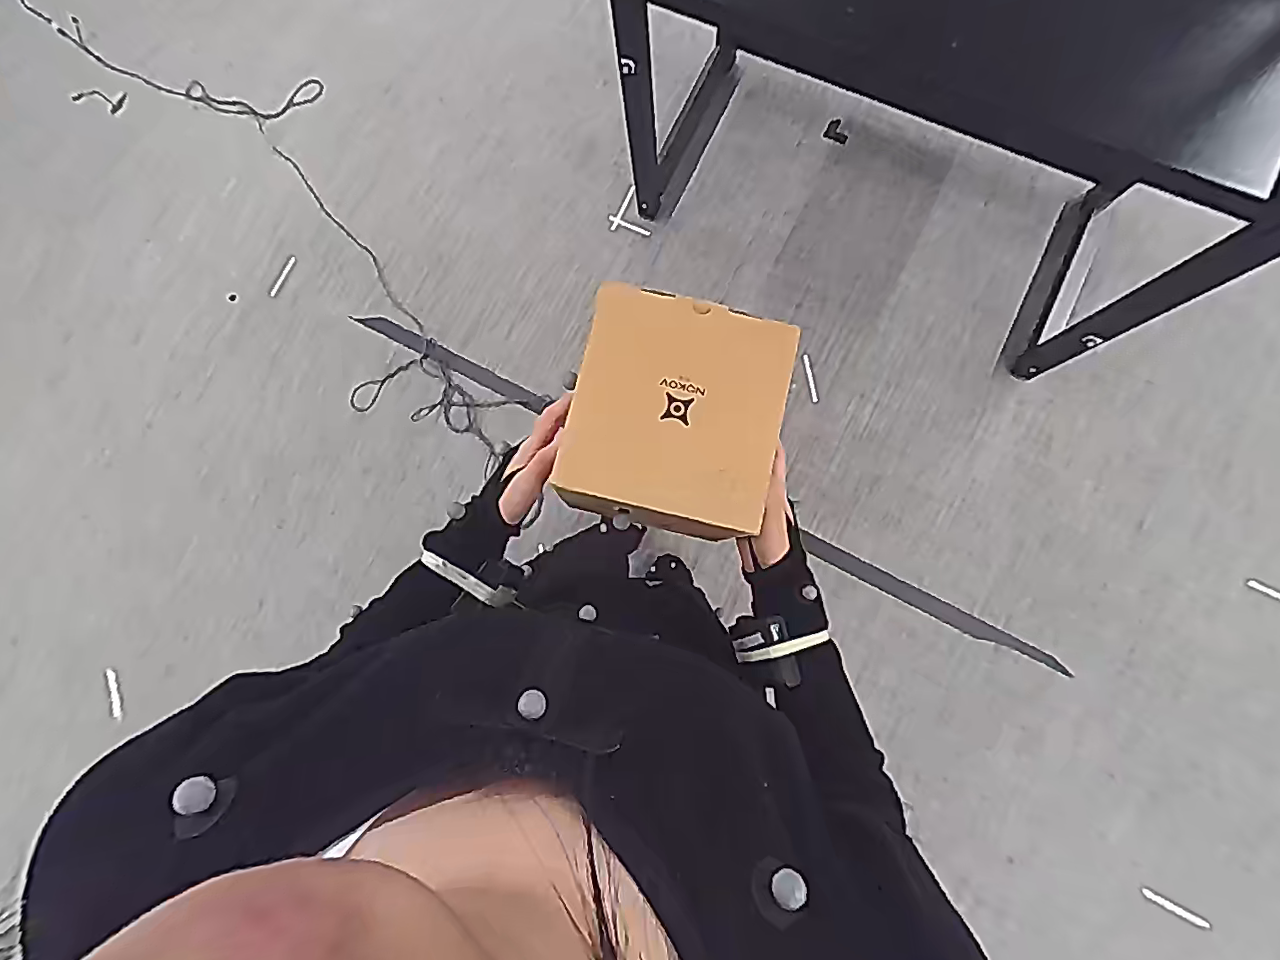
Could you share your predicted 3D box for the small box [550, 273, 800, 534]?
[{"bbox_3d":[0.027,-0.052,0.499,0.168,0.176,0.179,14,80,-1],"label":"small box"}]
